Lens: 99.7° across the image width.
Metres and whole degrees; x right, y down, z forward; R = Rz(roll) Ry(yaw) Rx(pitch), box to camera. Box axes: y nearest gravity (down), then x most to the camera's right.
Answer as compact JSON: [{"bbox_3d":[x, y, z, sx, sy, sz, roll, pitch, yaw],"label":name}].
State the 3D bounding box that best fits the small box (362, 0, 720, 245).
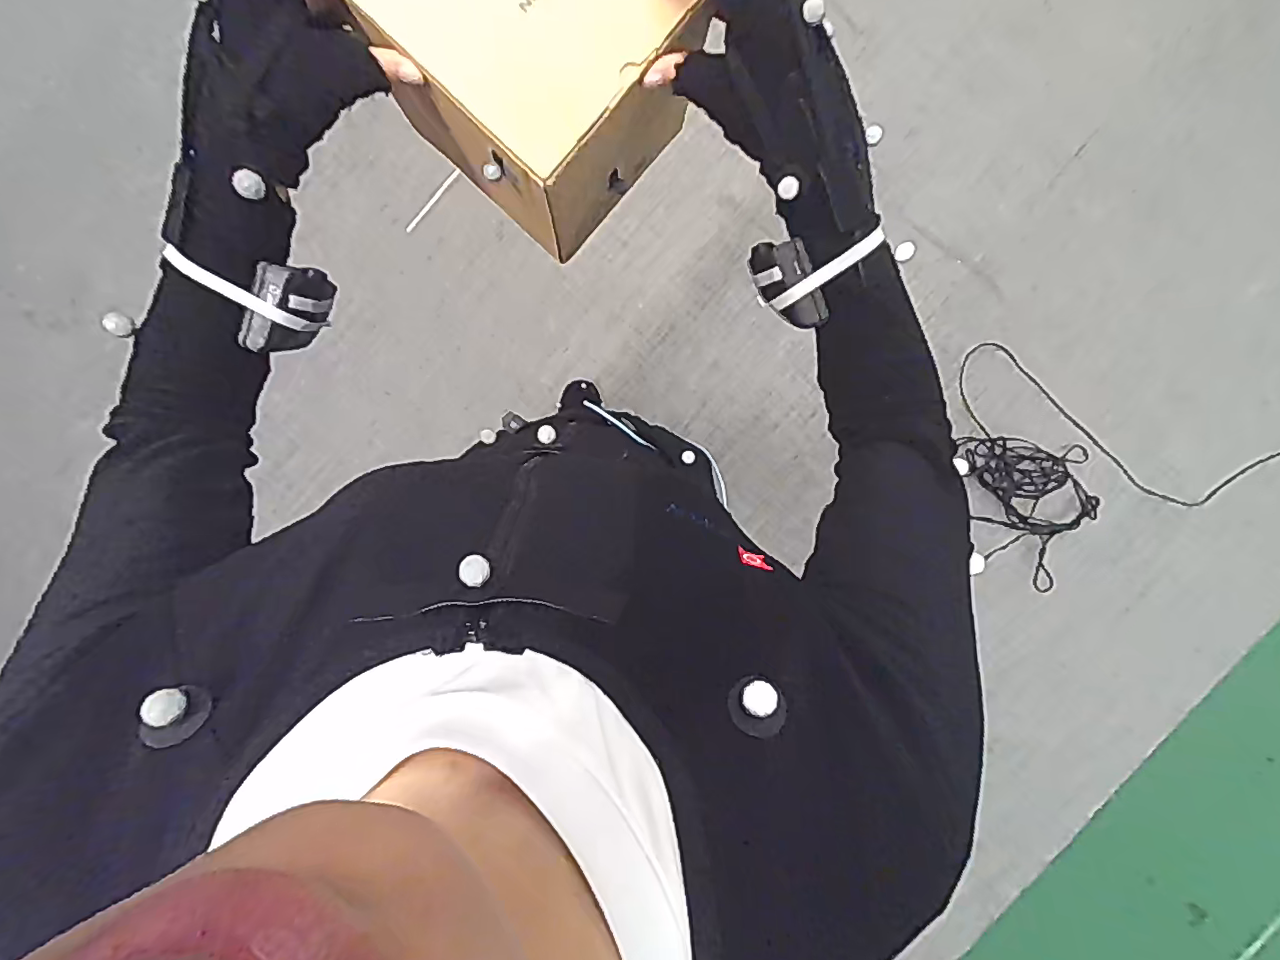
[{"bbox_3d":[-0.071,-0.313,0.403,0.179,0.176,0.168,42,91,-9],"label":"small box"}]
